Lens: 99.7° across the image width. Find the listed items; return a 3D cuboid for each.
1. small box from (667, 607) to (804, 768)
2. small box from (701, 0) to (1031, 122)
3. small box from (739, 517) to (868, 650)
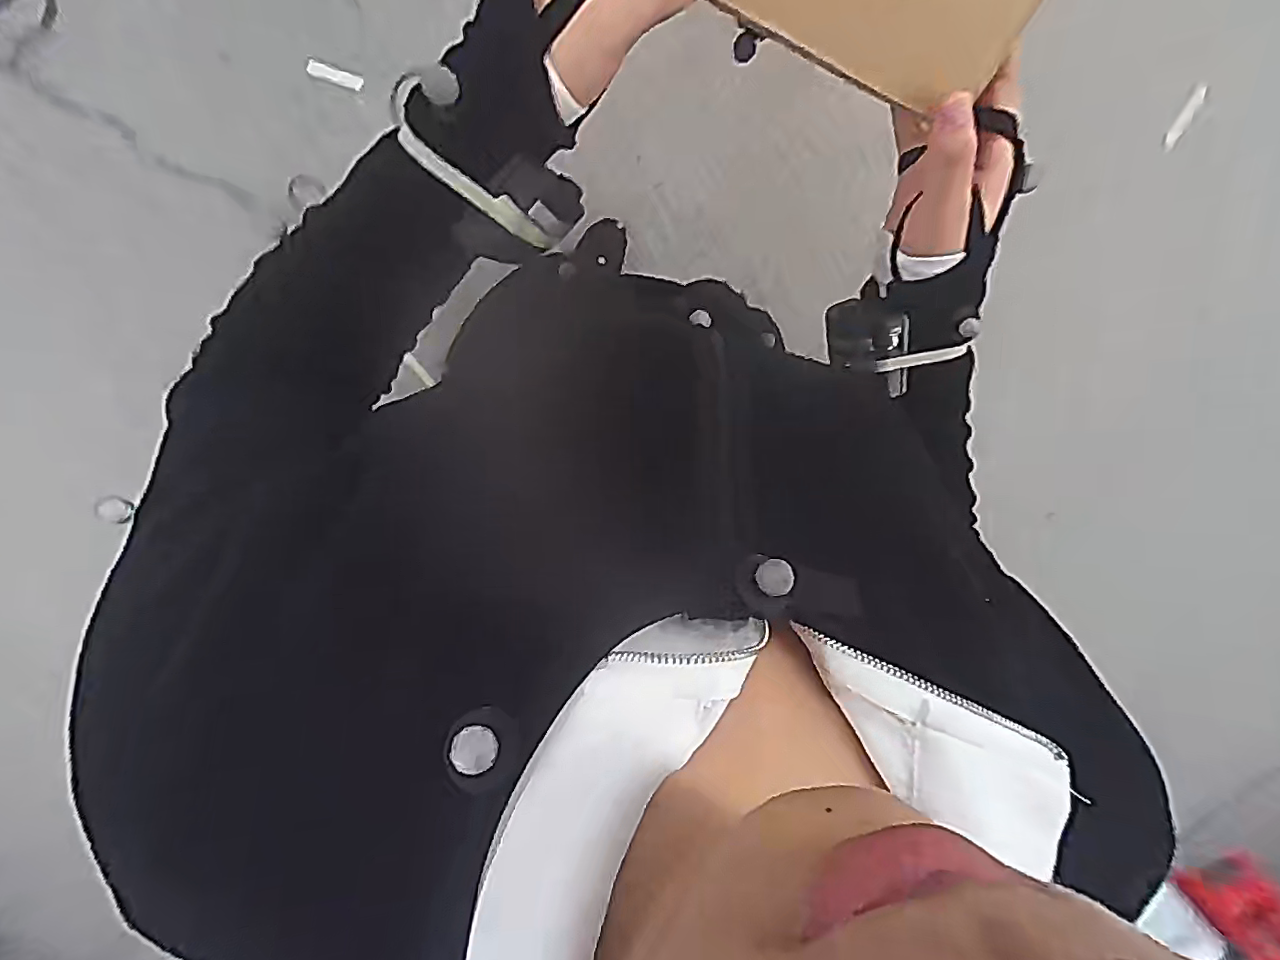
[{"bbox_3d":[0.162,0.362,0.959,0.168,0.176,0.179,-29,114,10],"label":"small box"},{"bbox_3d":[0.114,-0.320,0.263,0.168,0.176,0.179,15,131,-16],"label":"small box"},{"bbox_3d":[0.316,0.194,1.076,0.168,0.176,0.179,-28,113,6],"label":"small box"}]
